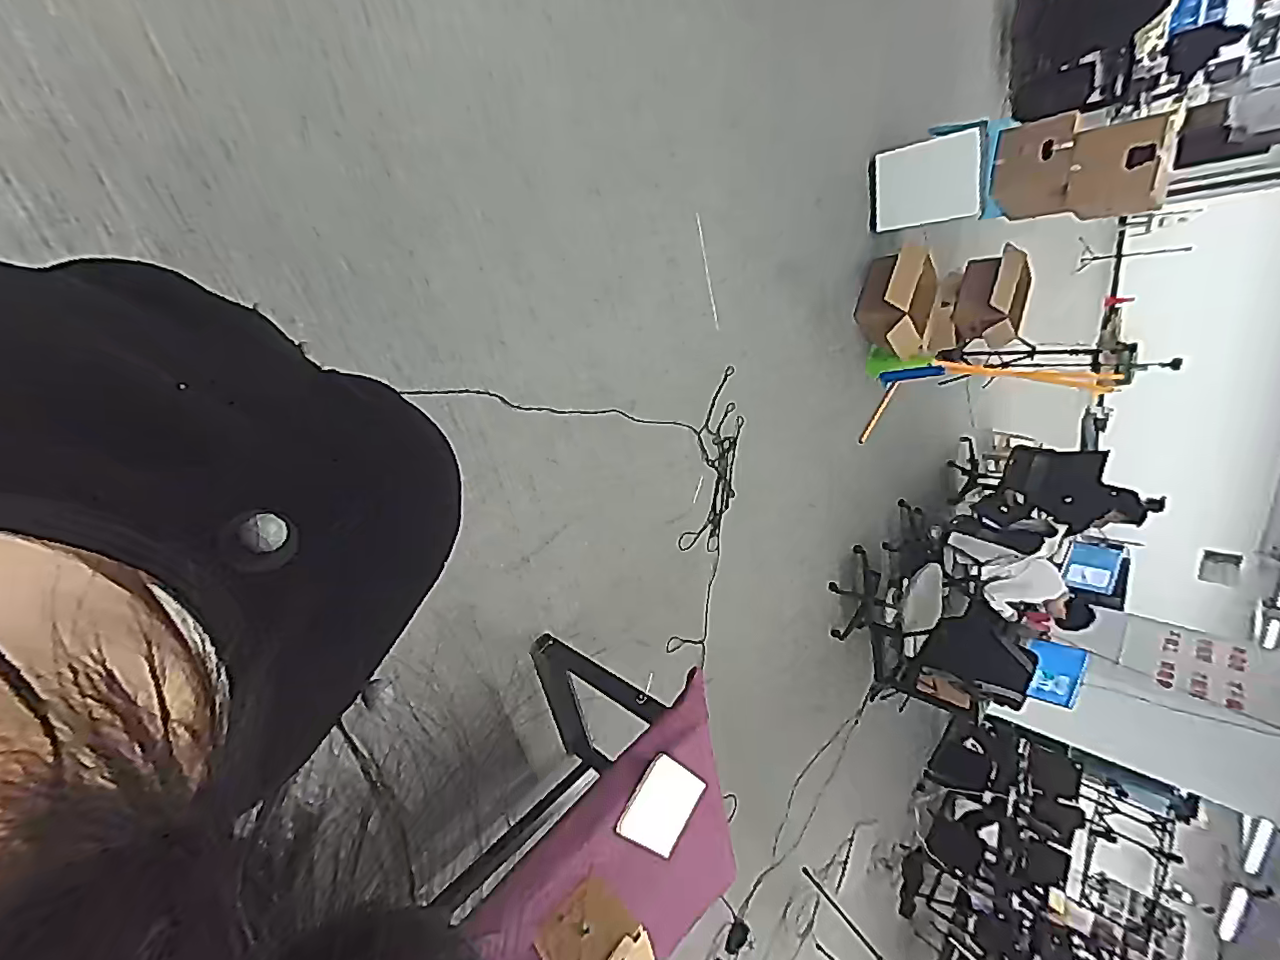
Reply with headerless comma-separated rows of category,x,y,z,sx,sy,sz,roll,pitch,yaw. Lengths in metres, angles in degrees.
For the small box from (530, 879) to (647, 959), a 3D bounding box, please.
small box,-0.107,0.990,1.132,0.168,0.176,0.179,-29,117,-37
